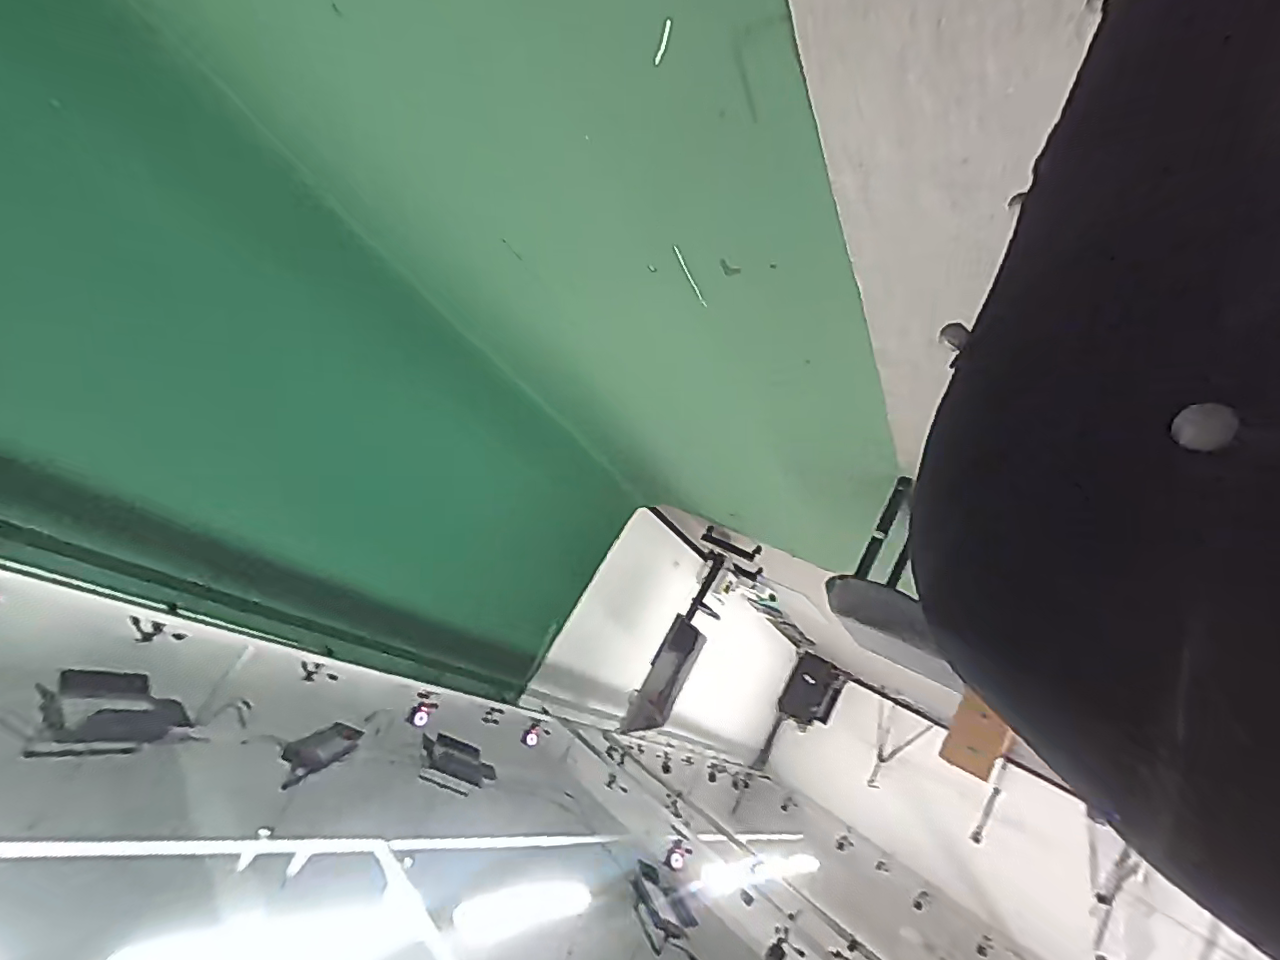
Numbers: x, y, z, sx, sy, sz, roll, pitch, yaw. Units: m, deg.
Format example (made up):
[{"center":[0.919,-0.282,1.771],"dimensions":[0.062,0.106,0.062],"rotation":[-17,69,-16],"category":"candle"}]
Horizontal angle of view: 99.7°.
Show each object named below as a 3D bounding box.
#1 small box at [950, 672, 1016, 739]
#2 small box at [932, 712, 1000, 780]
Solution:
[{"center":[1.344,0.880,2.115],"dimensions":[0.179,0.176,0.168],"rotation":[22,164,40],"category":"small box"},{"center":[1.258,1.017,2.085],"dimensions":[0.179,0.176,0.168],"rotation":[21,164,42],"category":"small box"}]
